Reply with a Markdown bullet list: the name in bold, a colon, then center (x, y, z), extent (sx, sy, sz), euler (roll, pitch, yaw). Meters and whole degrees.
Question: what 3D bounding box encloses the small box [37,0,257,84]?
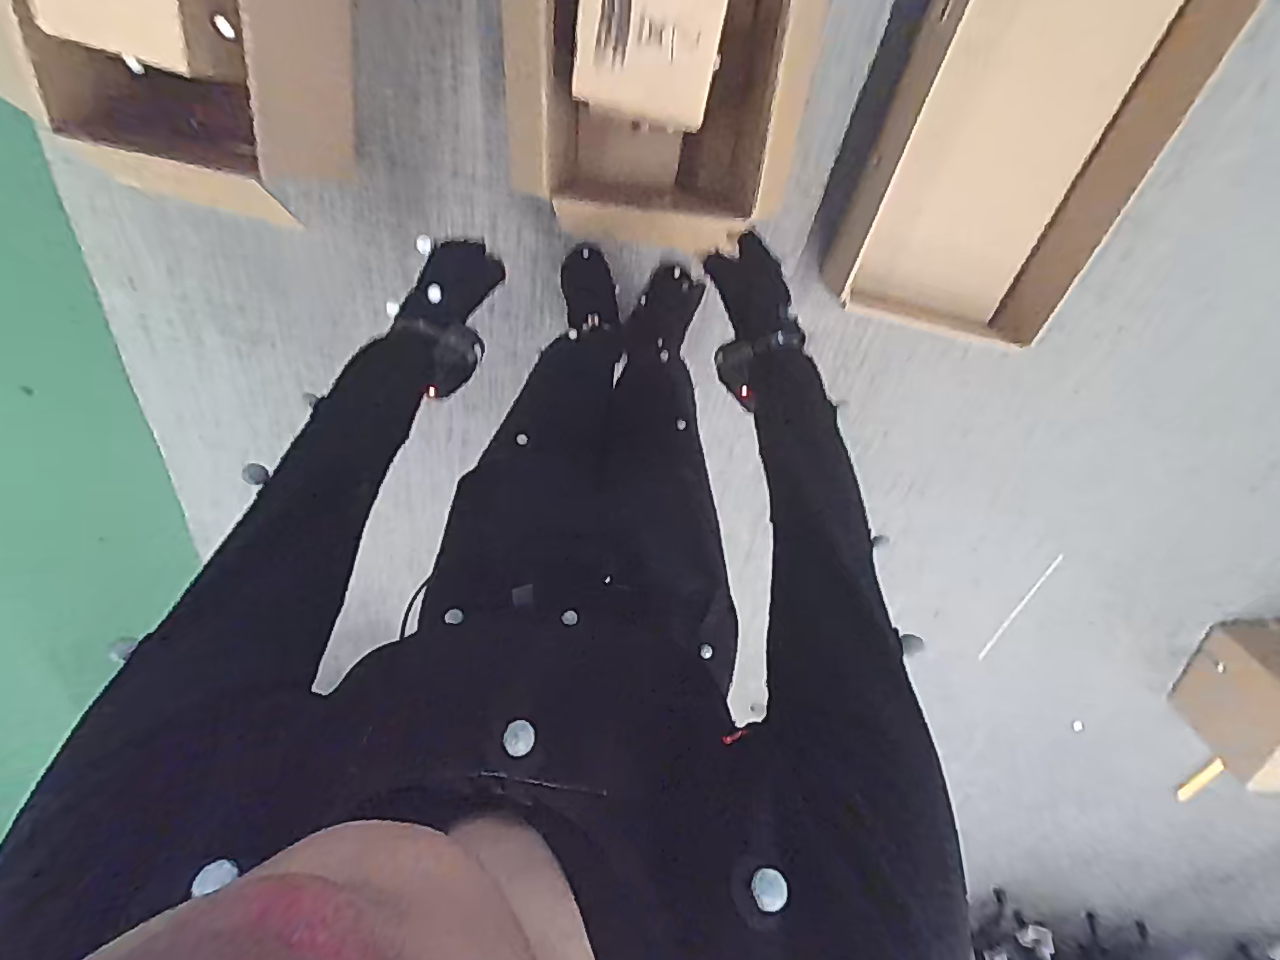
- **small box**: center (-0.642, -0.648, 0.716), extent (0.179, 0.176, 0.168), euler (13, 122, -8)
